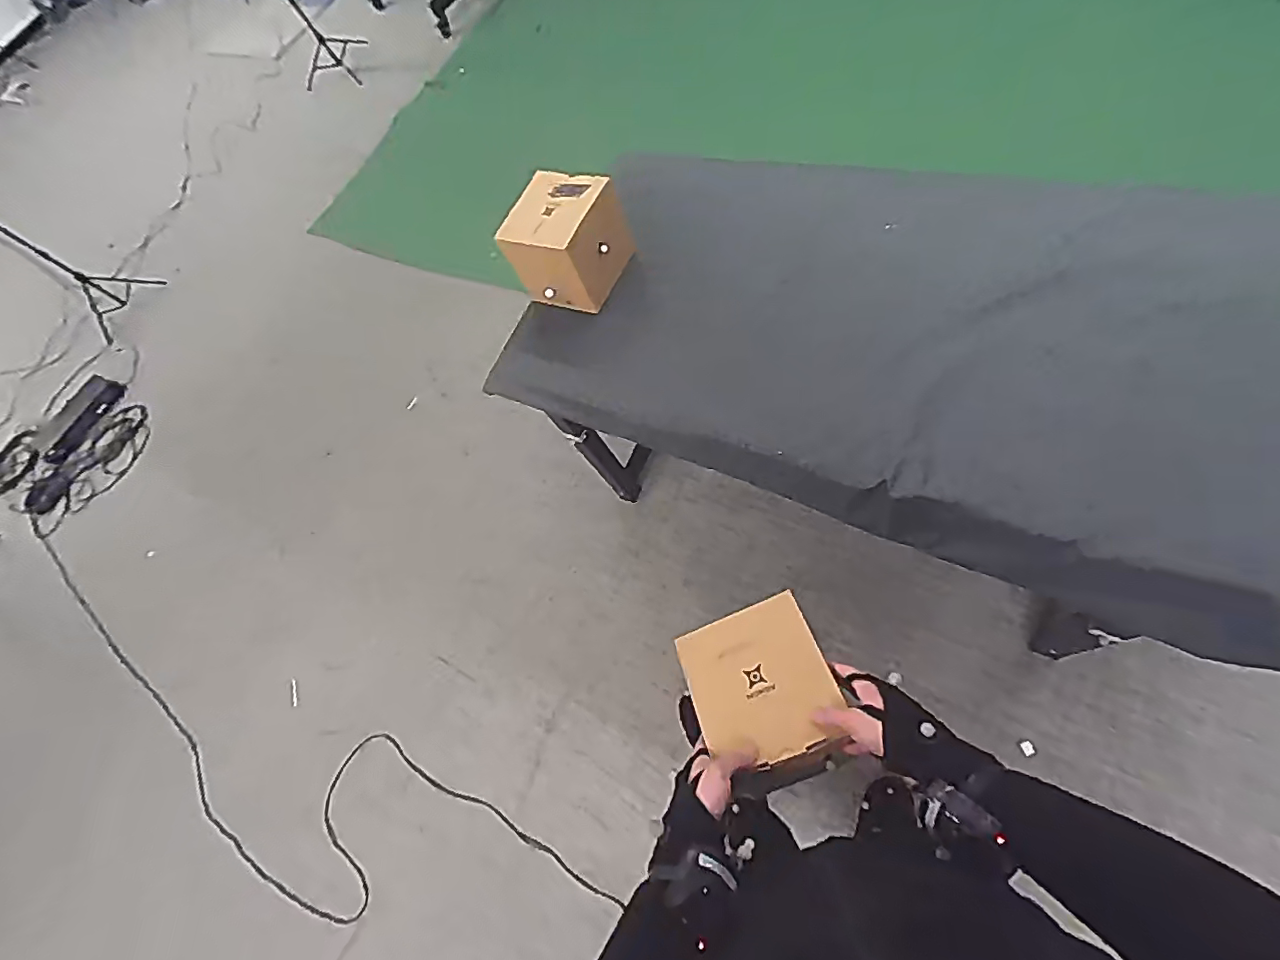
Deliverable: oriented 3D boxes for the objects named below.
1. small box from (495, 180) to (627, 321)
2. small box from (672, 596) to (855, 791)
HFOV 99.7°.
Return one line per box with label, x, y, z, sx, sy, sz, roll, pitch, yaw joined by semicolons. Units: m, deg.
small box;-0.141;-0.443;1.049;0.168;0.176;0.179;20;74;24
small box;0.164;0.287;0.707;0.168;0.176;0.179;-25;48;7
